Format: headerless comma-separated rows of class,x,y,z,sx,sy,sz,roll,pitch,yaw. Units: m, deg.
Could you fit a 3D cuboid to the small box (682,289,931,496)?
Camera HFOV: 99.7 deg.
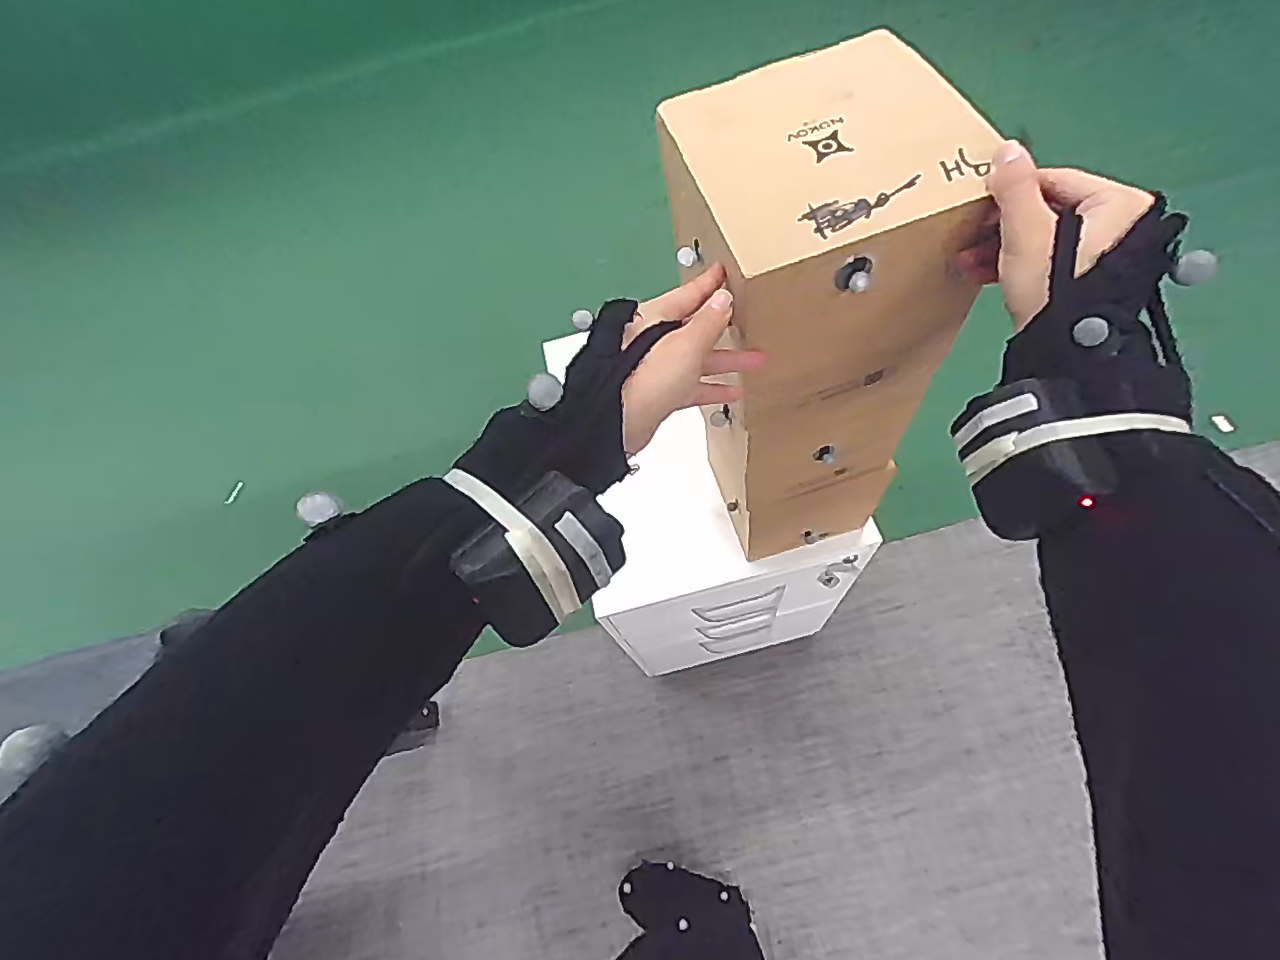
small box,0.152,-0.101,0.550,0.168,0.176,0.179,-18,61,-1

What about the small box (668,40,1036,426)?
small box,0.127,-0.171,0.402,0.168,0.176,0.179,-18,62,1
